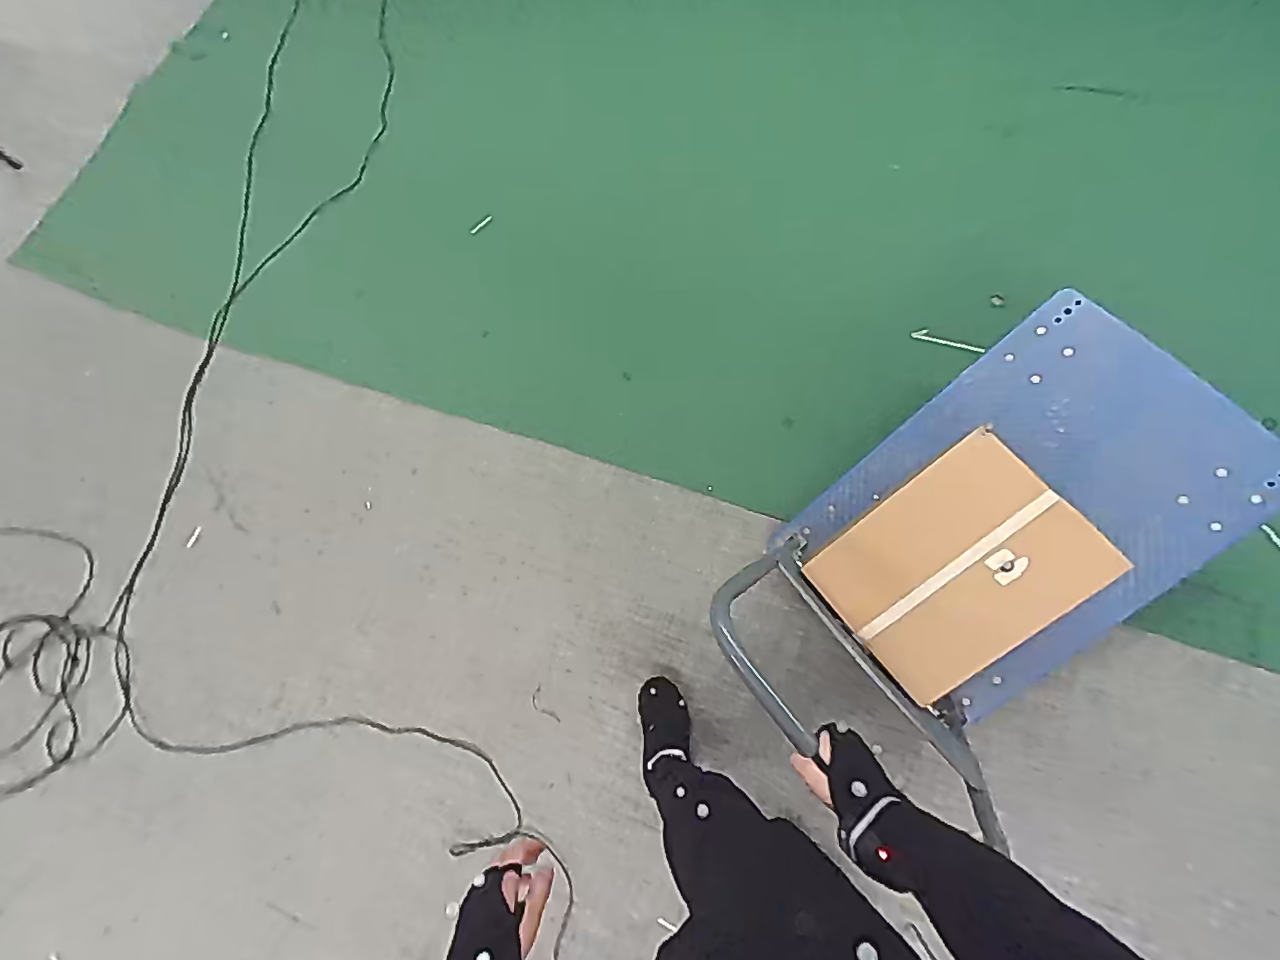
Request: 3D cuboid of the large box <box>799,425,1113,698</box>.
[{"bbox_3d":[0.585,0.158,1.094,0.408,0.320,0.320,-42,74,12],"label":"large box"}]
